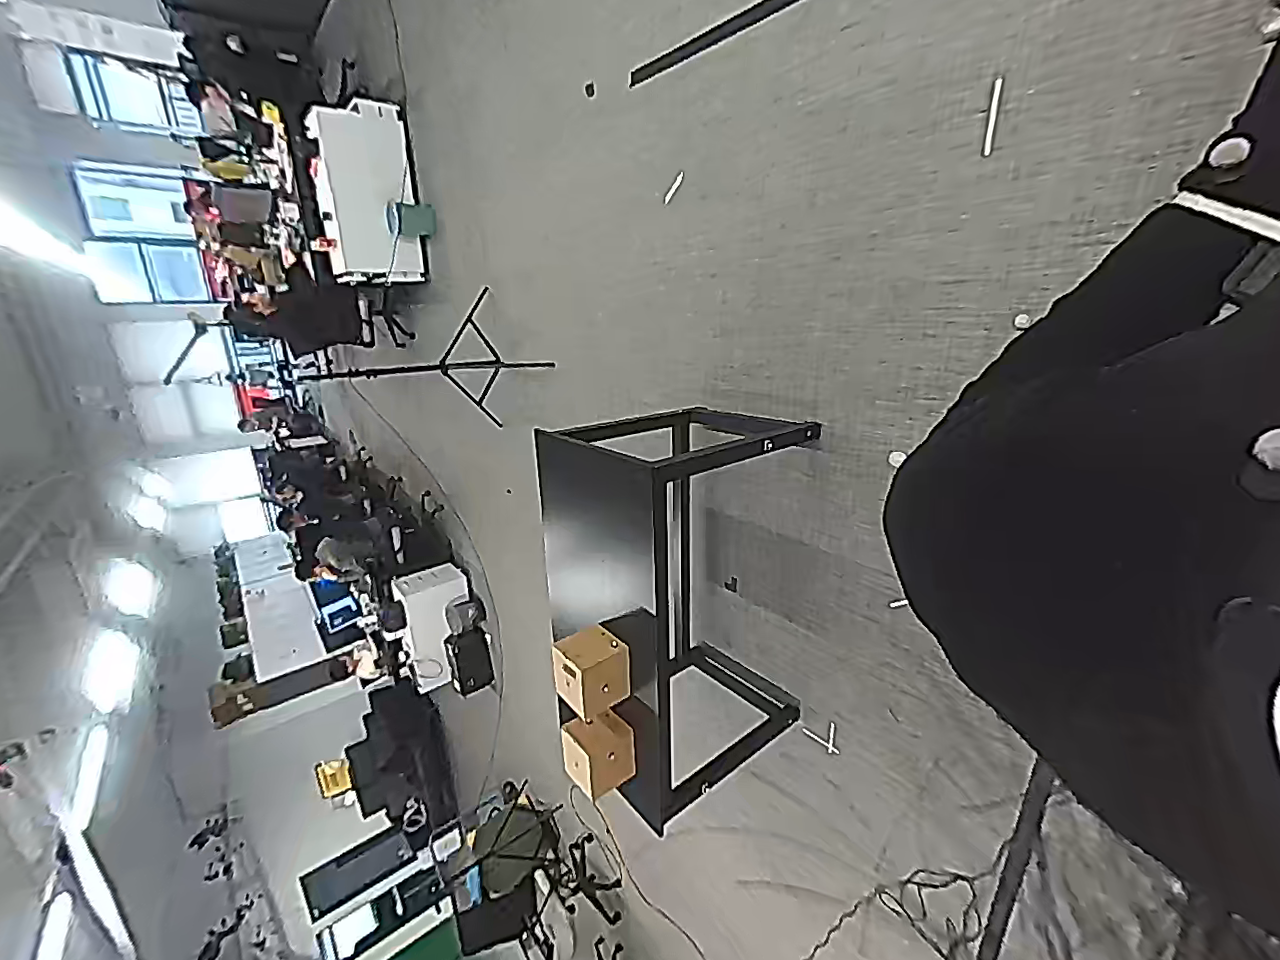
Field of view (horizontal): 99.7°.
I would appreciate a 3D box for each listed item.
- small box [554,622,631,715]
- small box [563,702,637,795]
[{"bbox_3d":[-0.140,0.555,1.625,0.168,0.176,0.179,22,120,49],"label":"small box"},{"bbox_3d":[-0.124,0.837,1.711,0.168,0.176,0.179,18,117,51],"label":"small box"}]
